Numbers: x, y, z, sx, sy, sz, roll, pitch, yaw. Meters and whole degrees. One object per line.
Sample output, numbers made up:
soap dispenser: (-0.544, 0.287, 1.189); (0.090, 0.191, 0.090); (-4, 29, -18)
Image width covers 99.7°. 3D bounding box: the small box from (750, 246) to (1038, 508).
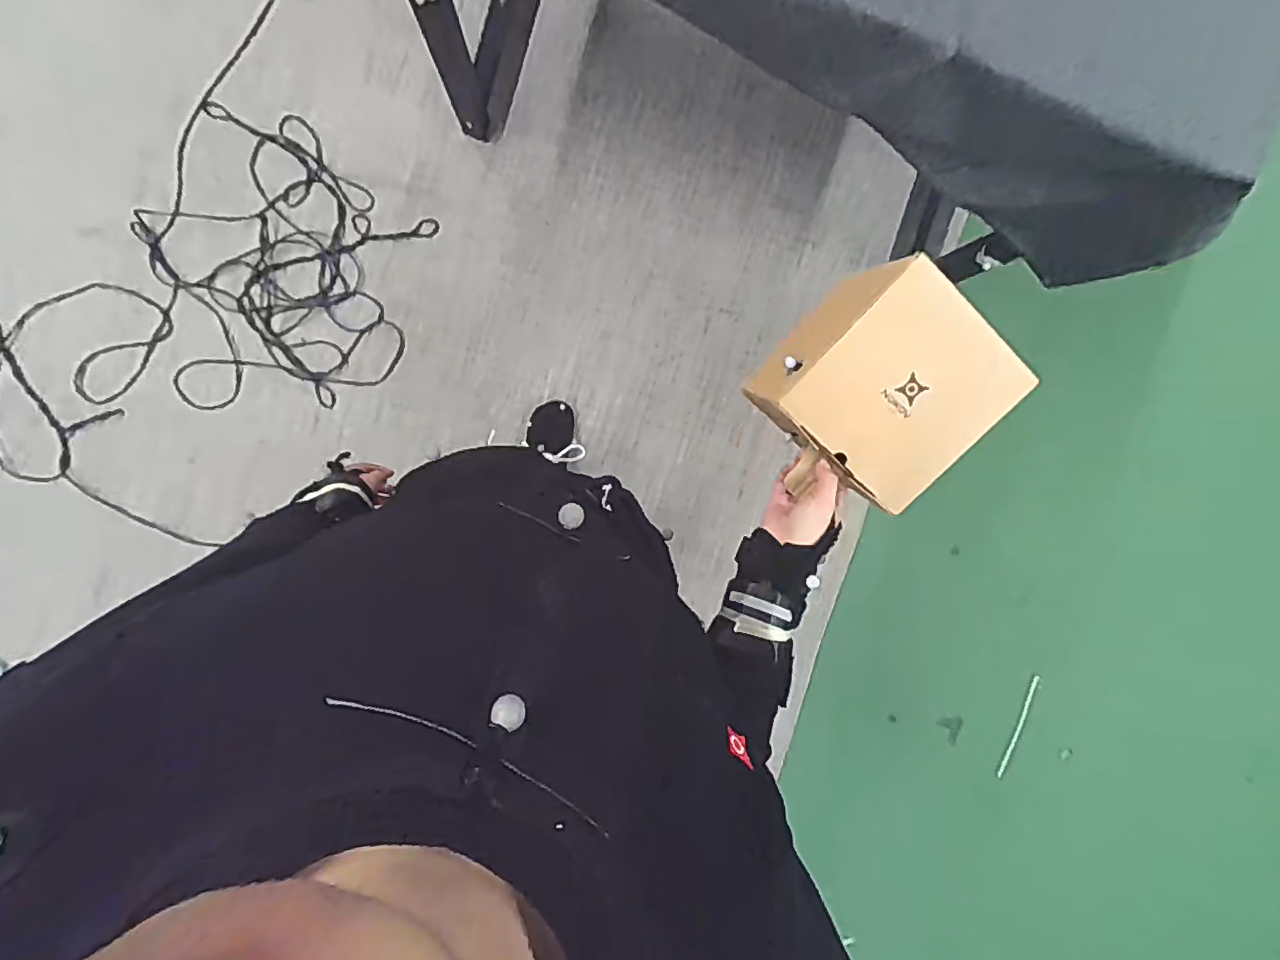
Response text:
small box: (0.239, -0.108, 0.559); (0.168, 0.176, 0.179); (40, 102, -11)
